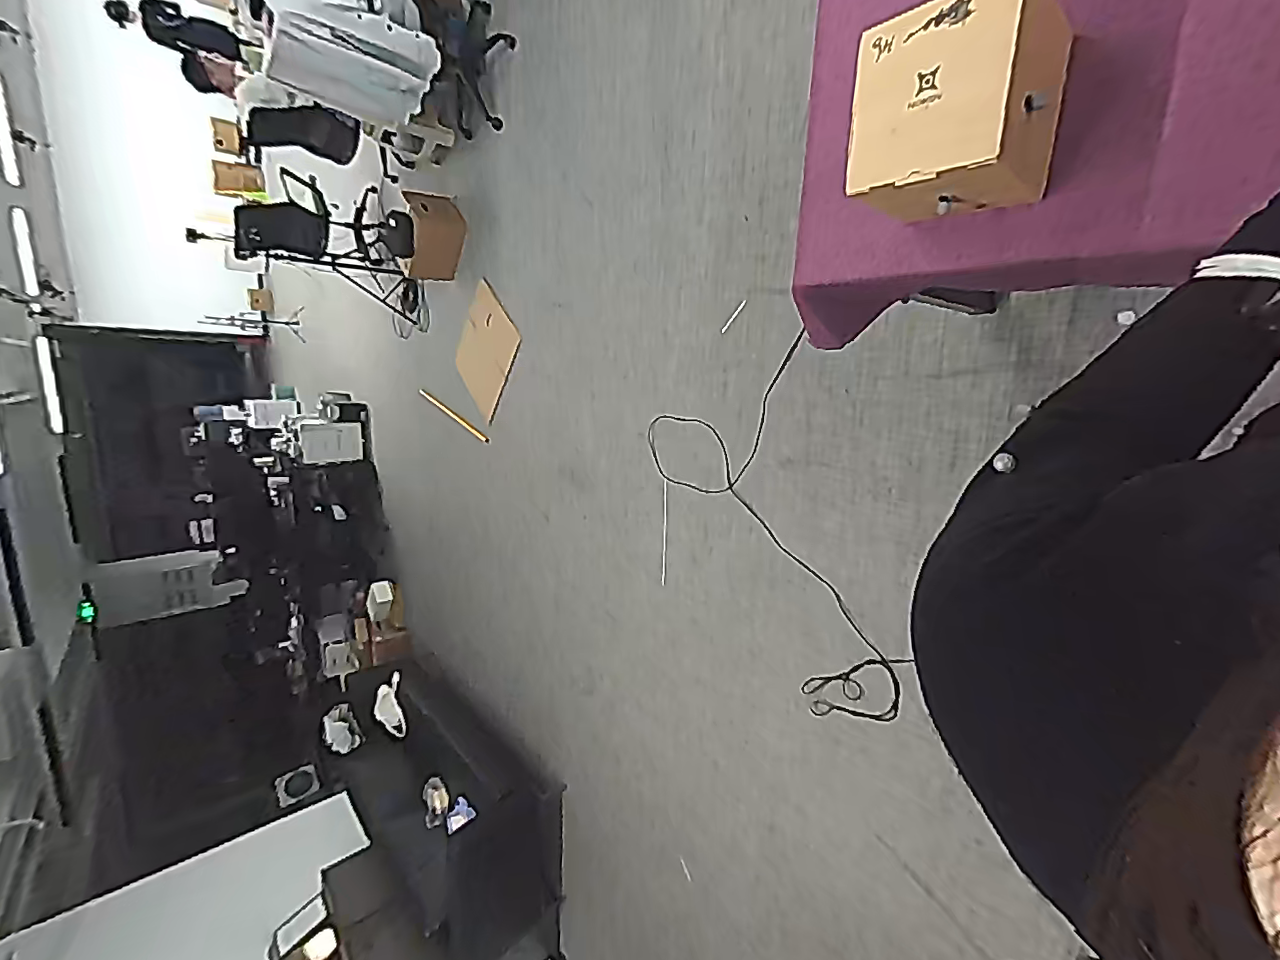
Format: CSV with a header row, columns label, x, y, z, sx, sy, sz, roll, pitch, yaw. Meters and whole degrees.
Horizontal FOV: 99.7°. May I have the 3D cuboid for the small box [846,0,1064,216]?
label,x,y,z,sx,sy,sz,roll,pitch,yaw
small box,0.370,-0.425,0.638,0.168,0.176,0.179,15,108,47
